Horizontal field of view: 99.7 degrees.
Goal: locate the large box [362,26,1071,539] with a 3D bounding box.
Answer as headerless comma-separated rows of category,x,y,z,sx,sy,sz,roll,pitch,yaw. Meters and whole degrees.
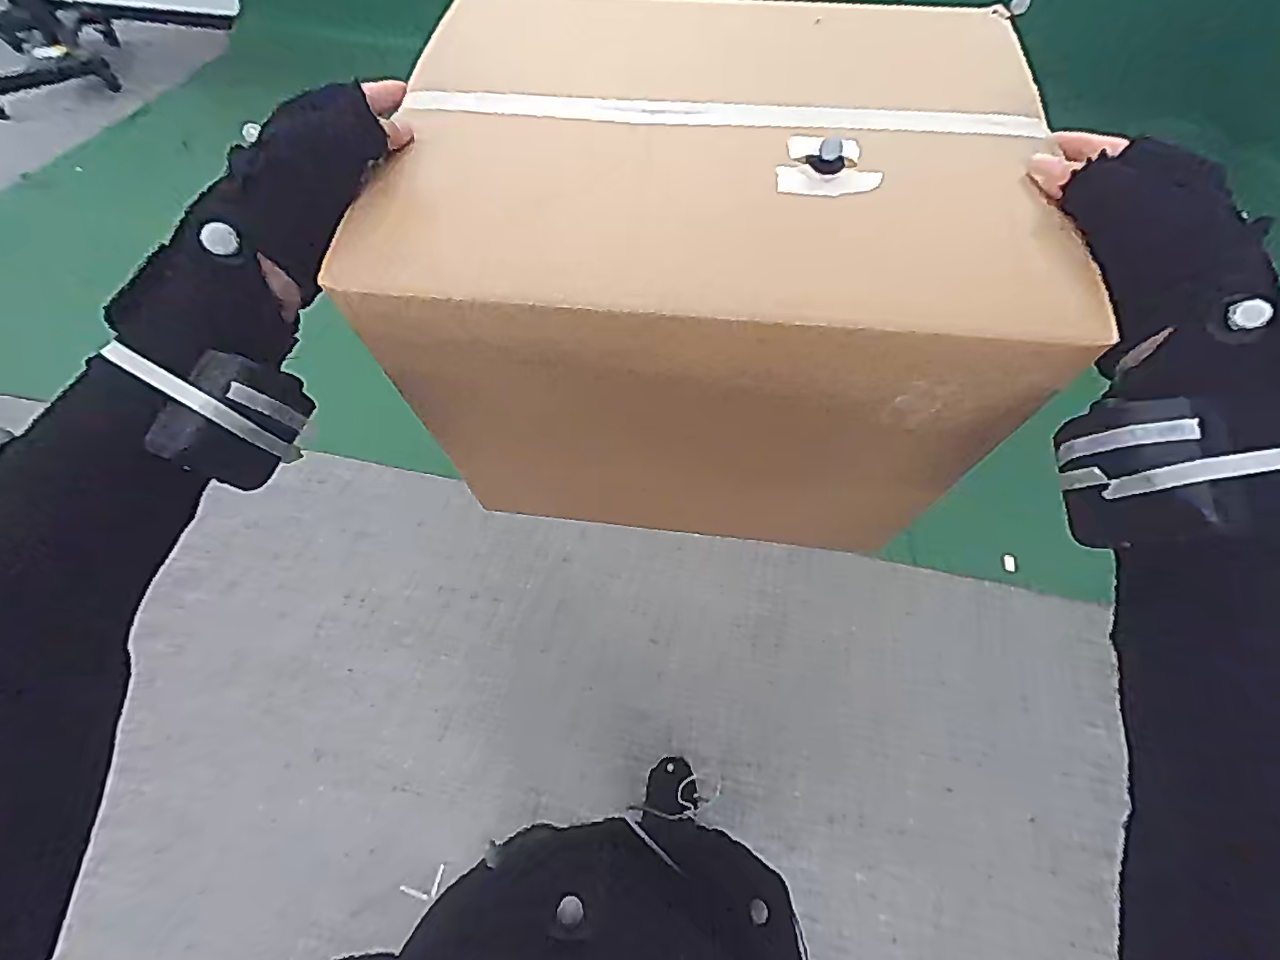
large box,0.050,-0.154,0.498,0.408,0.320,0.320,6,64,3
